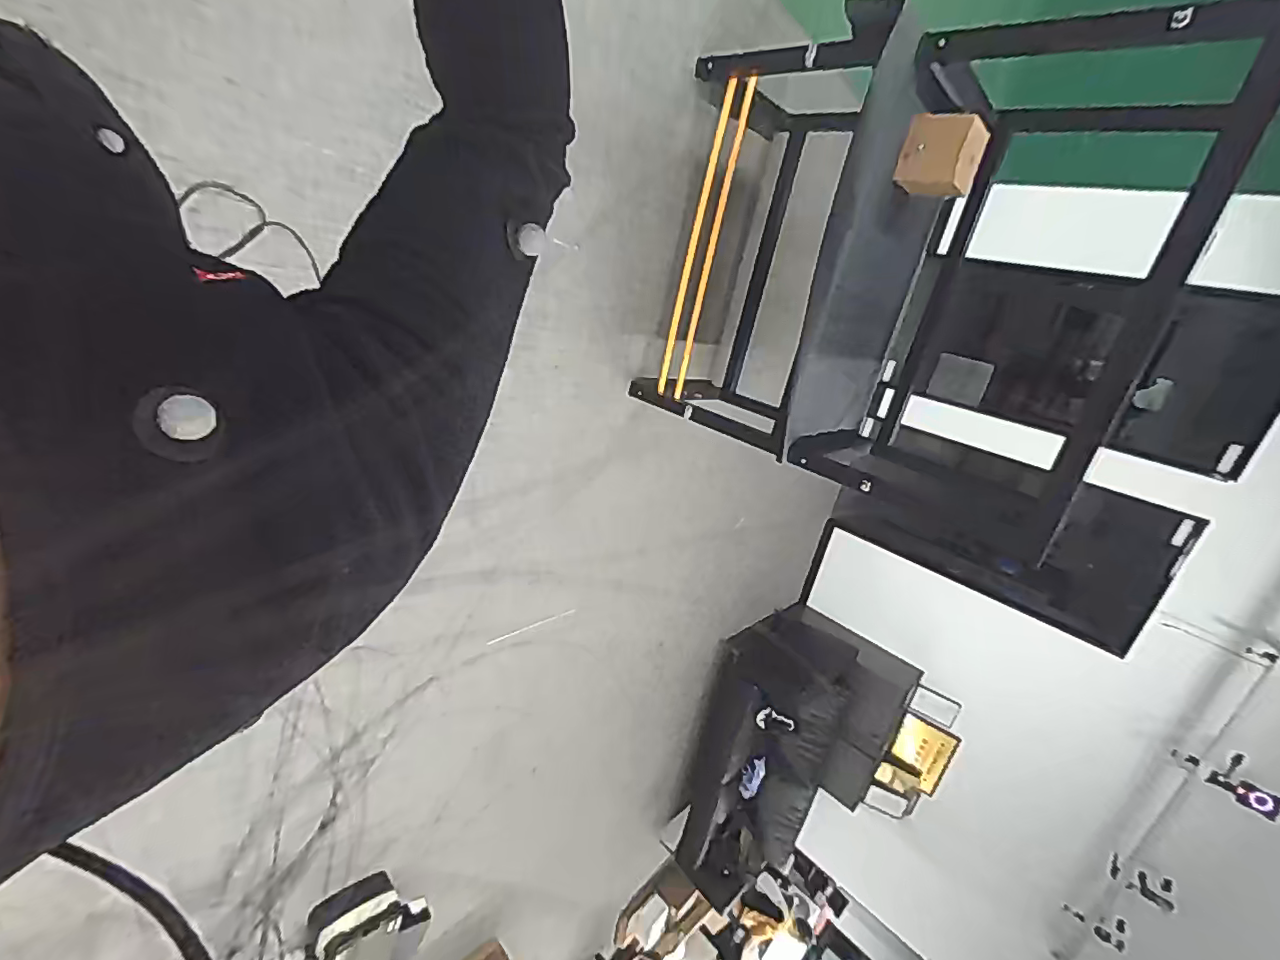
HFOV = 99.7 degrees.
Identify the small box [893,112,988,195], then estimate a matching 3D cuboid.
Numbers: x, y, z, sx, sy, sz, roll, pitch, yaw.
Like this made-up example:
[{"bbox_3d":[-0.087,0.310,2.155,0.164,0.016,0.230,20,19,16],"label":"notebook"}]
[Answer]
[{"bbox_3d":[0.865,-0.939,1.559,0.179,0.176,0.168,-10,120,-47],"label":"small box"}]
